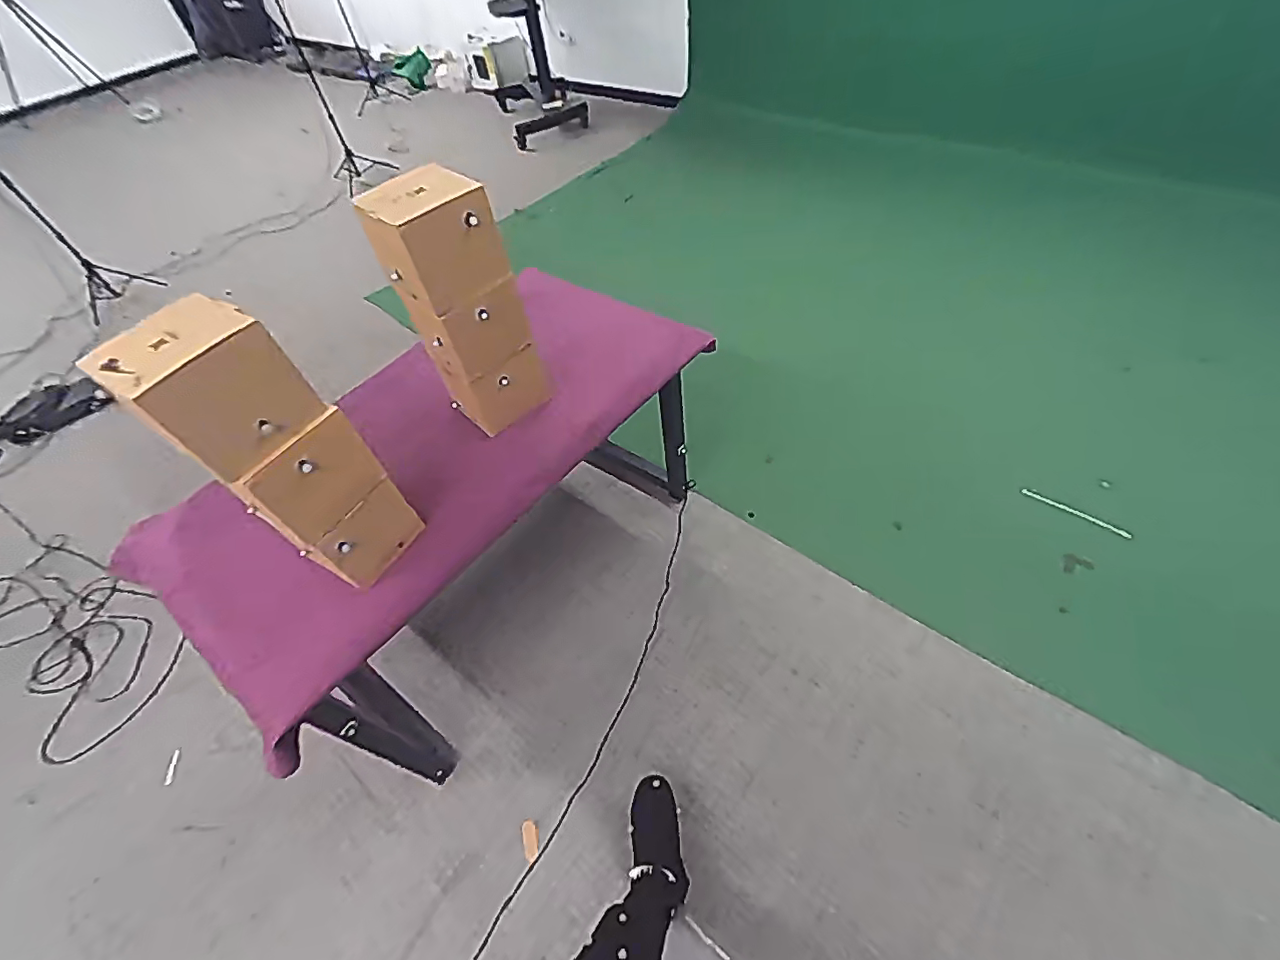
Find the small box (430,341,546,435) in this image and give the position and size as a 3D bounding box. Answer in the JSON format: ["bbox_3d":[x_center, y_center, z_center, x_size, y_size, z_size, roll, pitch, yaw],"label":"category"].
[{"bbox_3d":[-0.339,-0.235,1.238,0.179,0.176,0.168,-39,58,-23],"label":"small box"}]

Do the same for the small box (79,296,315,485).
[{"bbox_3d":[-0.605,-0.127,0.768,0.168,0.176,0.179,23,58,25],"label":"small box"}]

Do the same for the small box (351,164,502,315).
[{"bbox_3d":[-0.372,-0.435,0.981,0.168,0.176,0.179,35,64,29],"label":"small box"}]

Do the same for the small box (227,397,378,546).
[{"bbox_3d":[-0.569,-0.025,0.893,0.168,0.176,0.179,23,59,24],"label":"small box"}]

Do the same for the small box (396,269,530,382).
[{"bbox_3d":[-0.353,-0.333,1.109,0.179,0.176,0.168,-40,59,-23],"label":"small box"}]
